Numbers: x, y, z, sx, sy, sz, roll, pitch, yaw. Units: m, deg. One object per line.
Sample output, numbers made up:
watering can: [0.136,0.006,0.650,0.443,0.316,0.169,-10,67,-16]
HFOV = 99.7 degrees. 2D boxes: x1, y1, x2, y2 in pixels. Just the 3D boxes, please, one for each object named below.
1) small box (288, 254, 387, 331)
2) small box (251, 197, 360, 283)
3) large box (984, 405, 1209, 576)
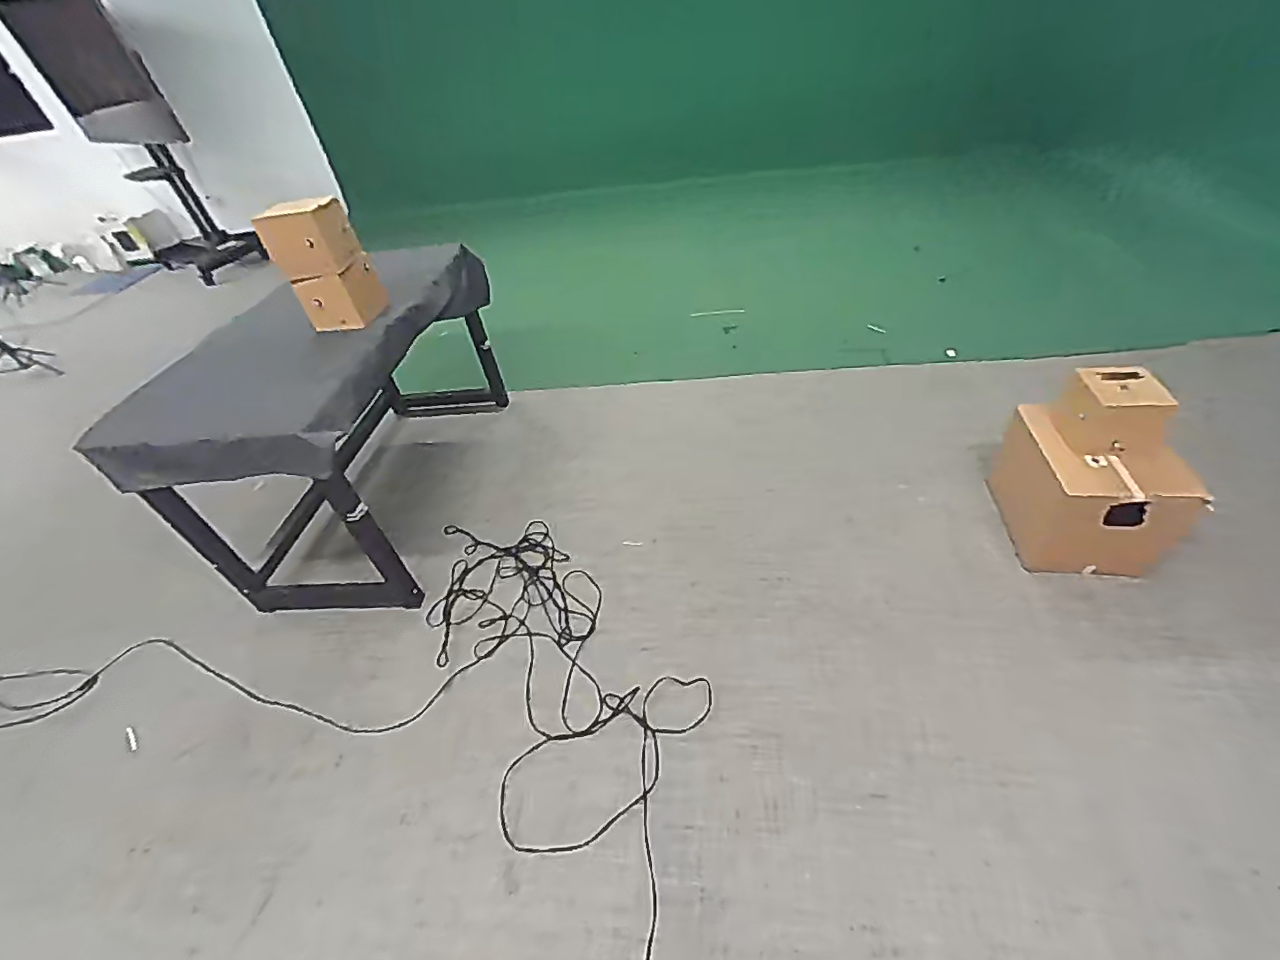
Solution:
small box: [-0.907,-0.565,1.644,0.168,0.176,0.179,-2,42,10]
small box: [-0.932,-0.678,1.530,0.179,0.176,0.168,-7,40,6]
large box: [1.277,0.024,1.580,0.320,0.320,0.408,0,44,12]
